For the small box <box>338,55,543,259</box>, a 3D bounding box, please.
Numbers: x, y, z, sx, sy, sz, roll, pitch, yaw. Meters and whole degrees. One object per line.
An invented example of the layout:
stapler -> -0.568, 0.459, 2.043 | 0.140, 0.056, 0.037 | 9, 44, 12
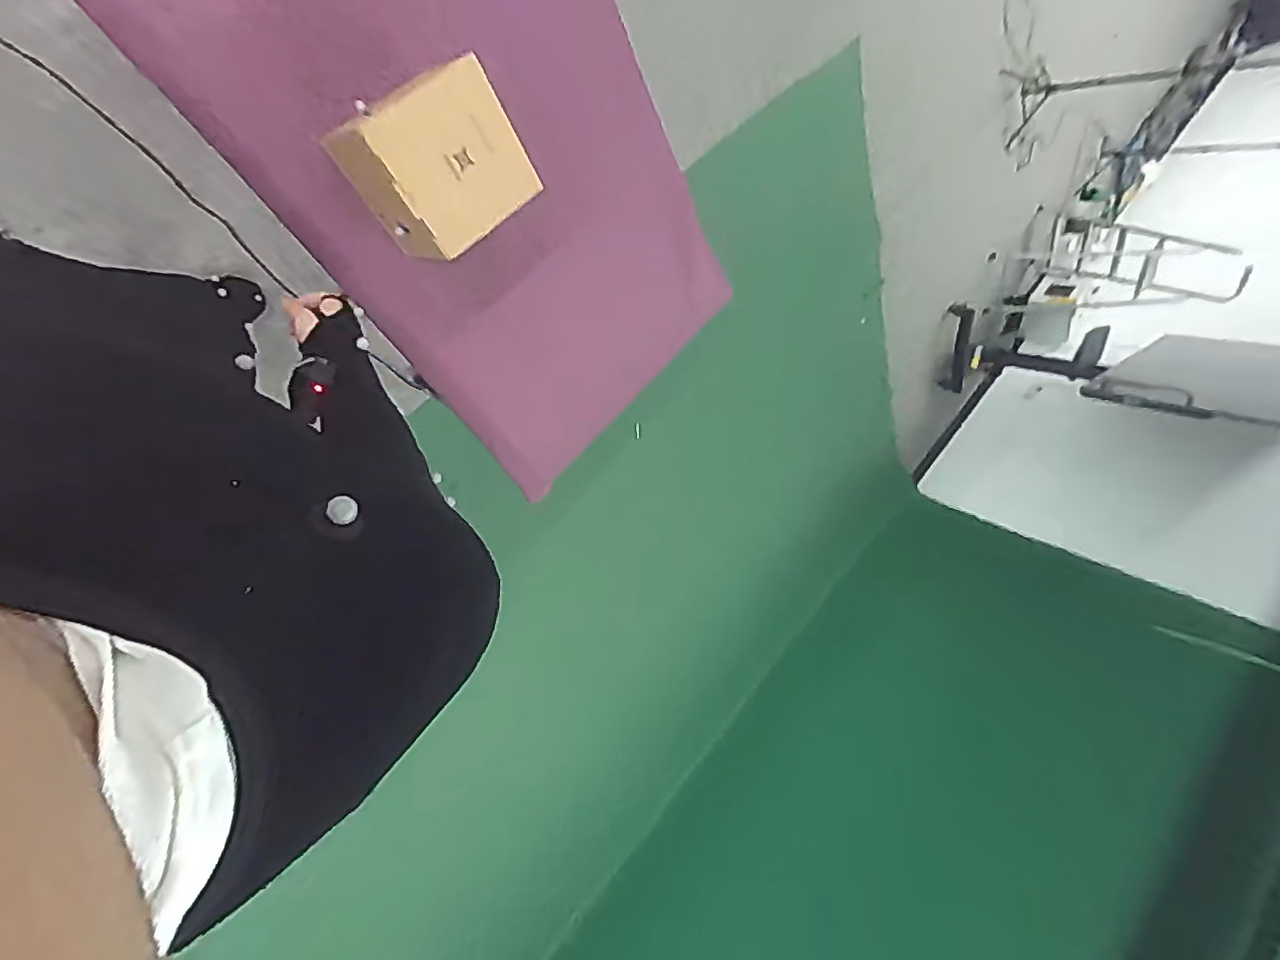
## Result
small box -> -0.270, -0.420, 0.723 | 0.179, 0.176, 0.168 | -46, 135, -16
